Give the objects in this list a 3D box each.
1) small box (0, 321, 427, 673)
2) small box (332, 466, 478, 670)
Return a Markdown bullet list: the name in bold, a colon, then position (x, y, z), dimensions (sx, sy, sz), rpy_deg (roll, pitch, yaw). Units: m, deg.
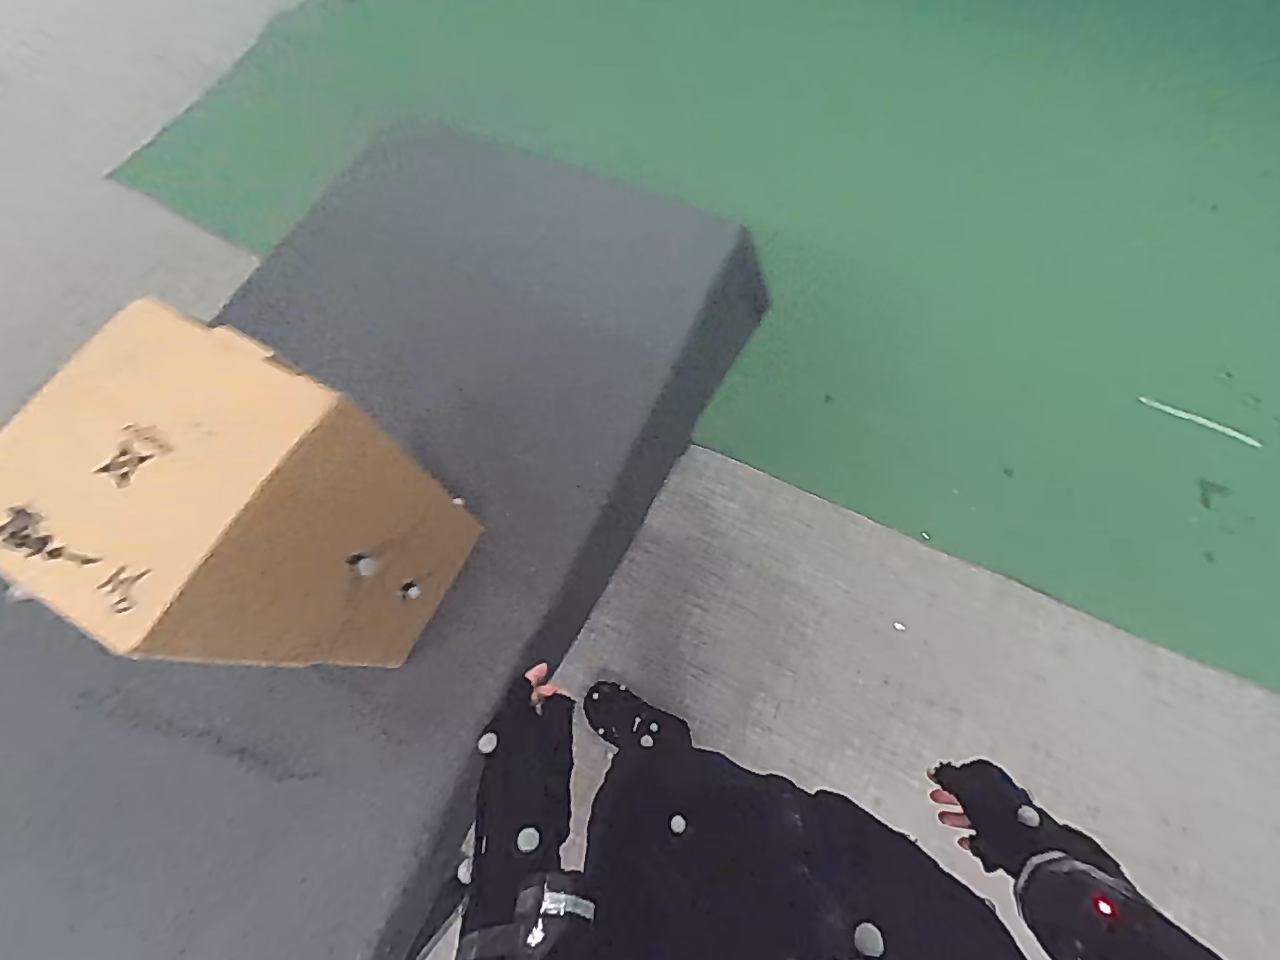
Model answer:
- **small box**: position (-0.288, 0.024, 0.403), dimensions (0.168, 0.176, 0.179), rpy_deg (25, 71, 11)
- **small box**: position (-0.288, 0.079, 0.558), dimensions (0.168, 0.176, 0.179), rpy_deg (21, 69, 9)
